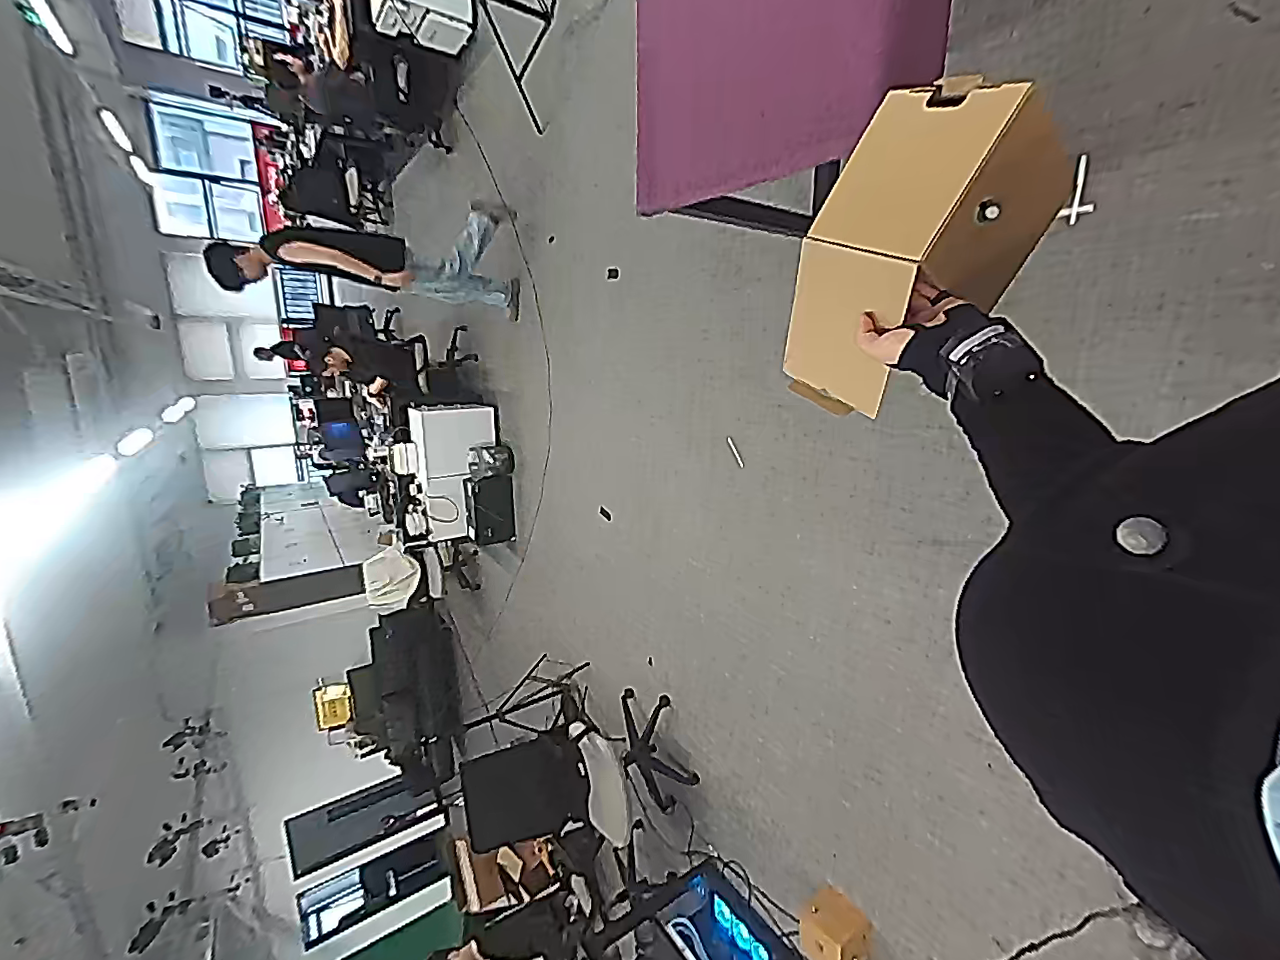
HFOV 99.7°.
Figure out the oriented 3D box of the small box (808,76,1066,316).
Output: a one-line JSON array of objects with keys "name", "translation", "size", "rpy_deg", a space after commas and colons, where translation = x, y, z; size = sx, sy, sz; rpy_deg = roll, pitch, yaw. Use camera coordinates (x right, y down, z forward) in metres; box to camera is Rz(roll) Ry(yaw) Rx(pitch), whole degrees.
[{"name": "small box", "translation": [0.338, -0.314, 0.620], "size": [0.179, 0.176, 0.168], "rpy_deg": [-60, 40, 15]}]
